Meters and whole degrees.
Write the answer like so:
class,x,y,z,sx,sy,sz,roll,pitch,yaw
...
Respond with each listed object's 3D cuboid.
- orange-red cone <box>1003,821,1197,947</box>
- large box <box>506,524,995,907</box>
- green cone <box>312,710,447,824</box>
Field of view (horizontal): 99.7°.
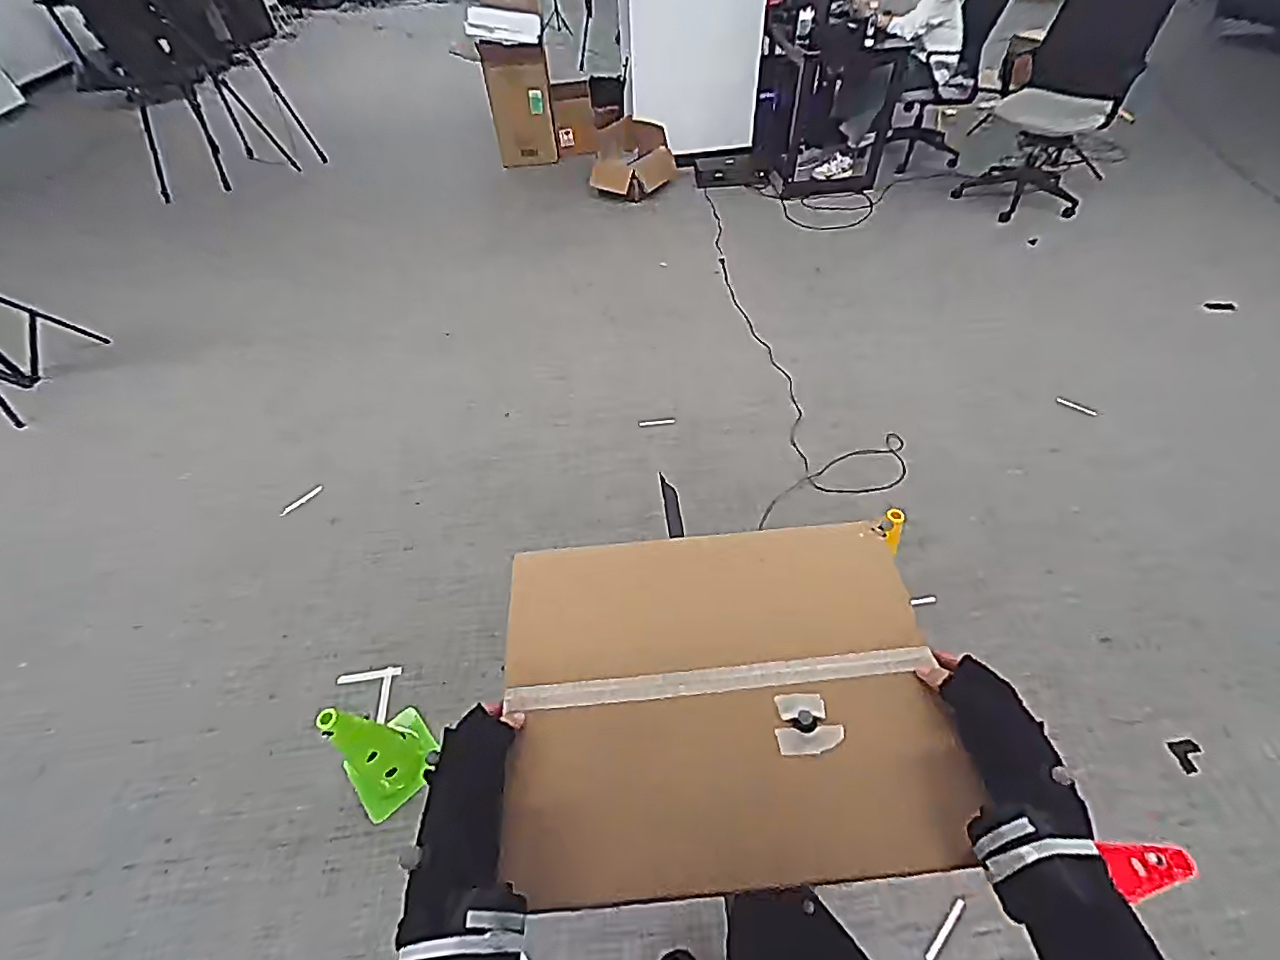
class,x,y,z,sx,sy,sz,roll,pitch,yaw
orange-red cone,0.892,0.731,1.011,0.198,0.360,0.199,-8,48,-4
large box,0.081,0.280,0.633,0.408,0.320,0.320,-5,53,-1
green cone,-0.624,0.603,1.228,0.202,0.368,0.200,-38,56,-24
